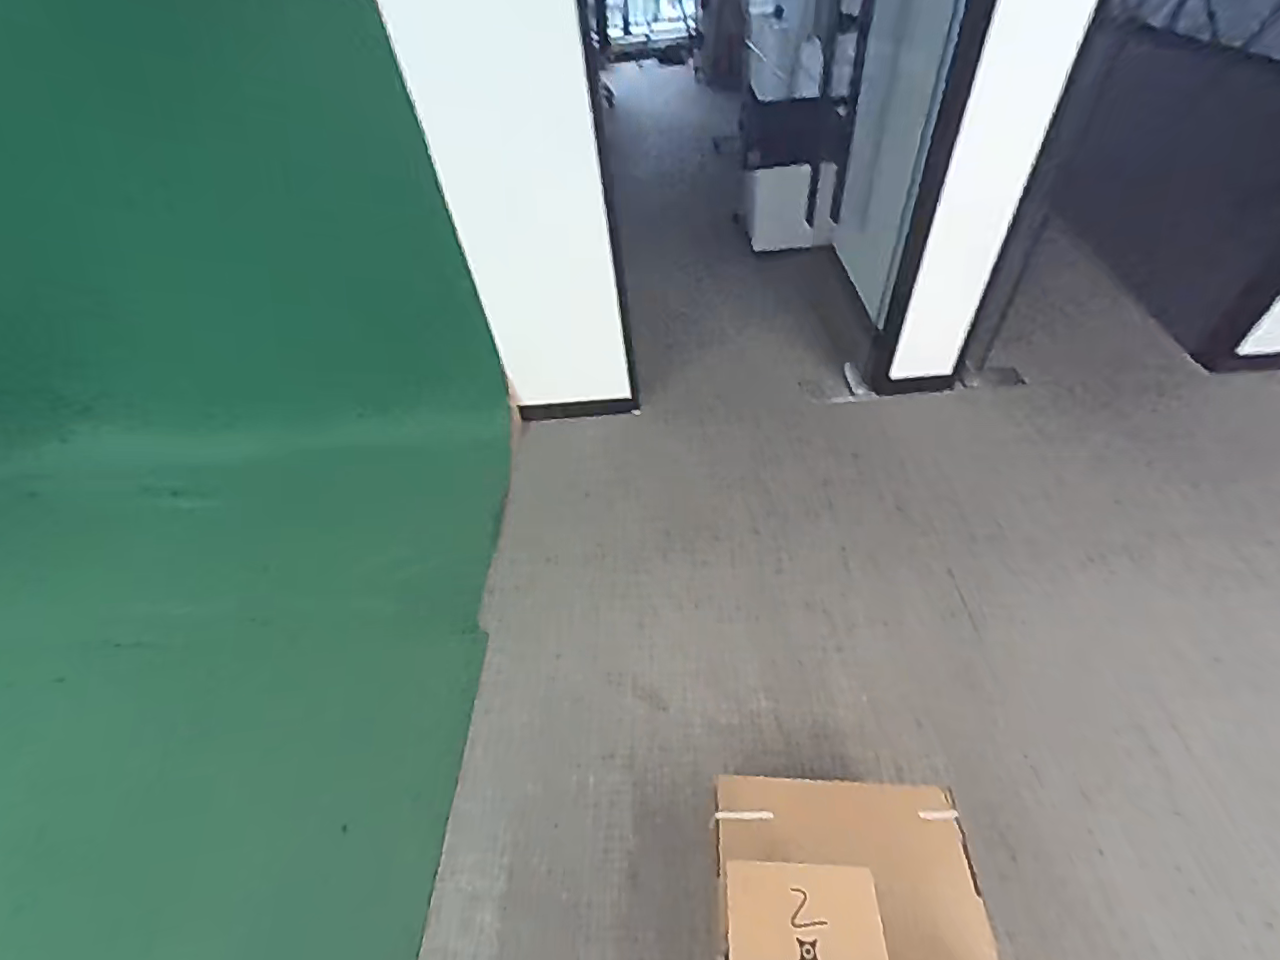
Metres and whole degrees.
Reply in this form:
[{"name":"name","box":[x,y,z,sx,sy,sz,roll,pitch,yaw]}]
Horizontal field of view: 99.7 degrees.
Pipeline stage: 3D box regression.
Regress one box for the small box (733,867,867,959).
[{"name":"small box","box":[0.213,0.665,0.744,0.168,0.176,0.179,1,46,10]}]
